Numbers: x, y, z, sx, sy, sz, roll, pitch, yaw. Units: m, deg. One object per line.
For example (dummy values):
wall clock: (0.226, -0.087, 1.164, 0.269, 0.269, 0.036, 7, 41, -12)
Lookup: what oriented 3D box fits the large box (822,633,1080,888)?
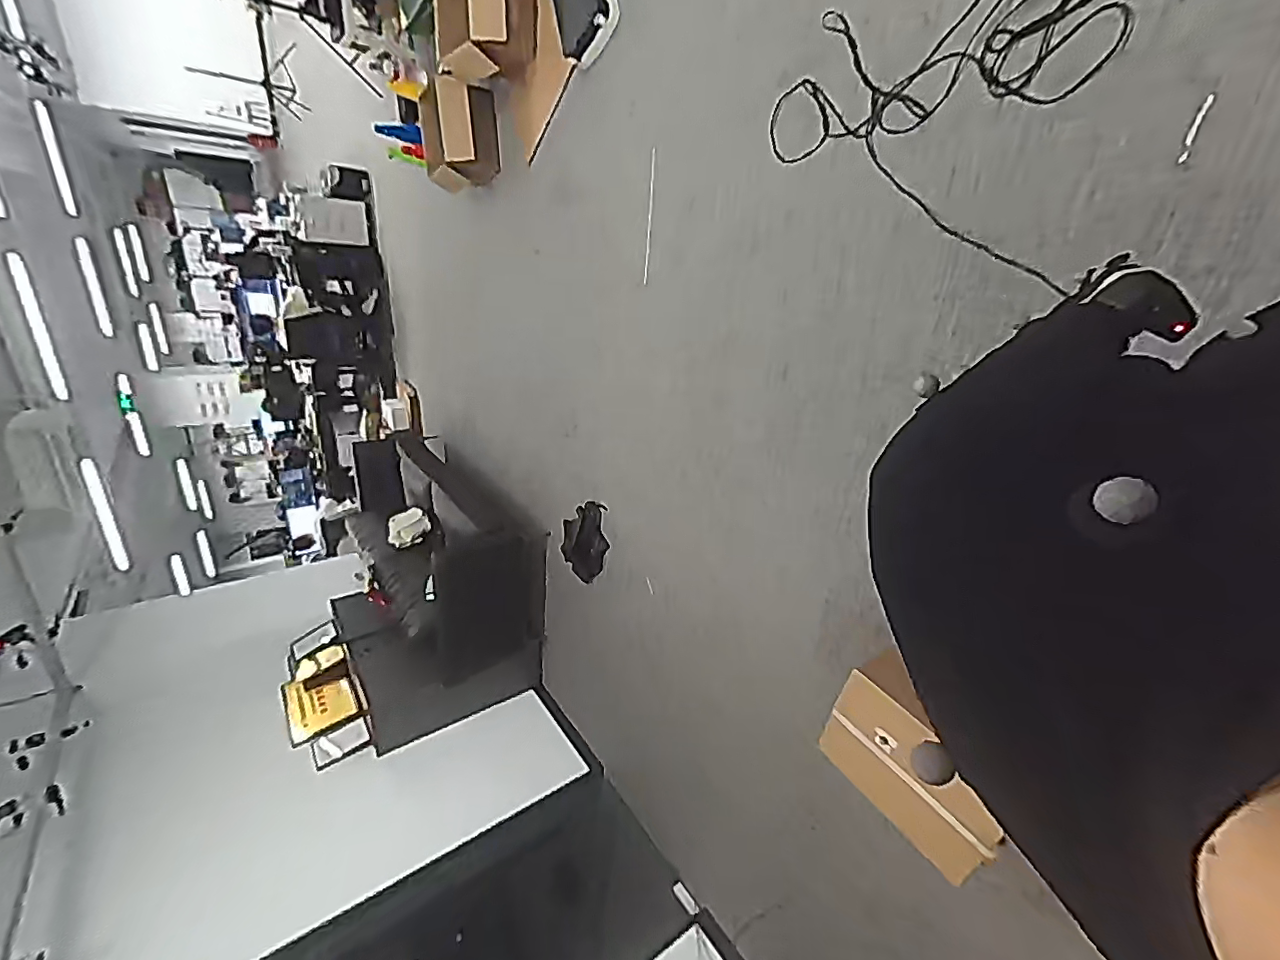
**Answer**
large box: (0.747, 0.661, 1.340, 0.408, 0.320, 0.320, 40, 130, 43)
